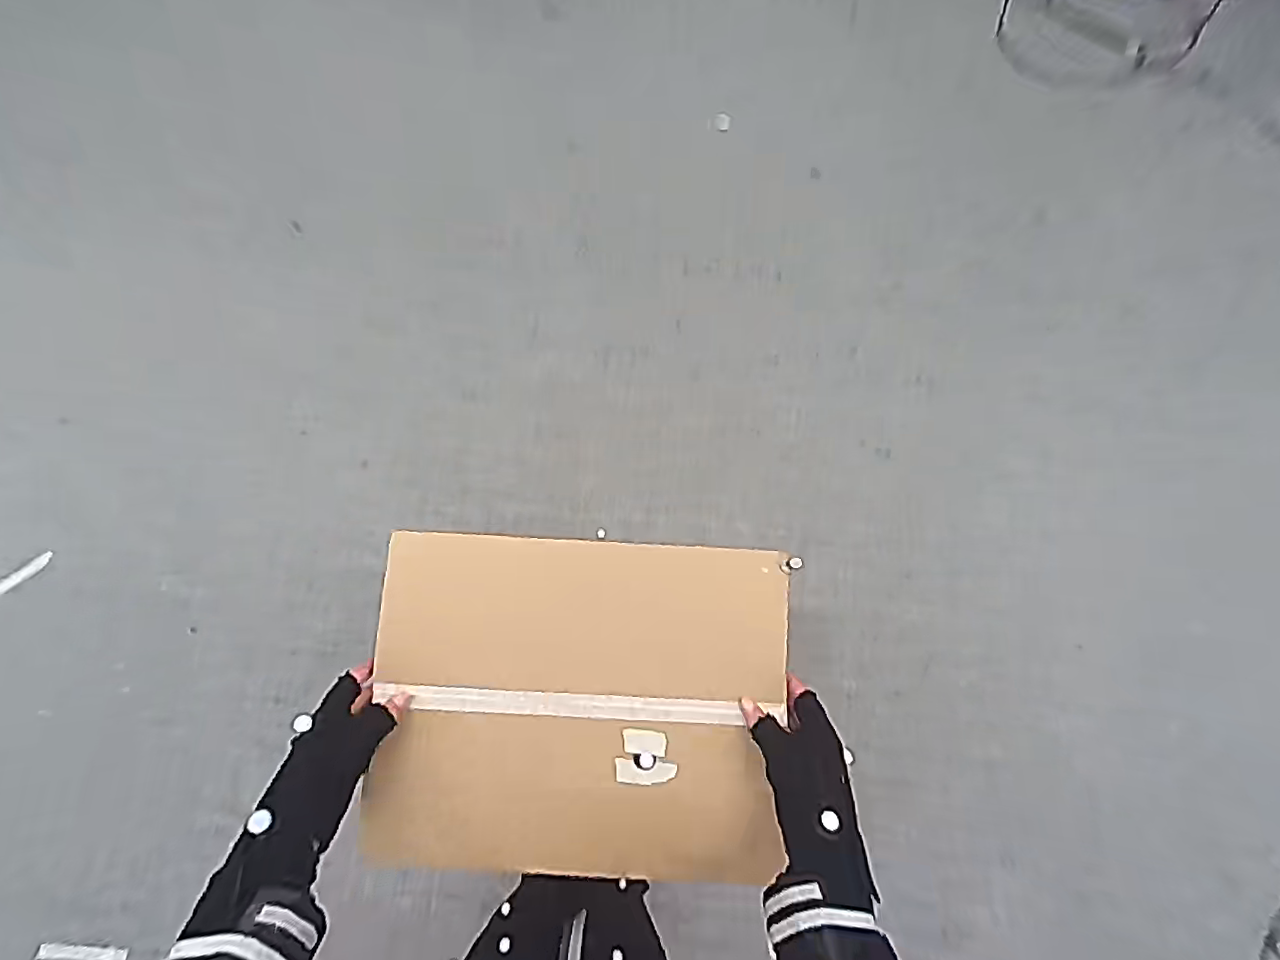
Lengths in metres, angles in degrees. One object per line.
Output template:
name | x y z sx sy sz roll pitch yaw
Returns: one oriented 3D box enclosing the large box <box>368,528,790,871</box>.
large box | -0.056 0.231 0.674 0.408 0.320 0.320 3 83 0
